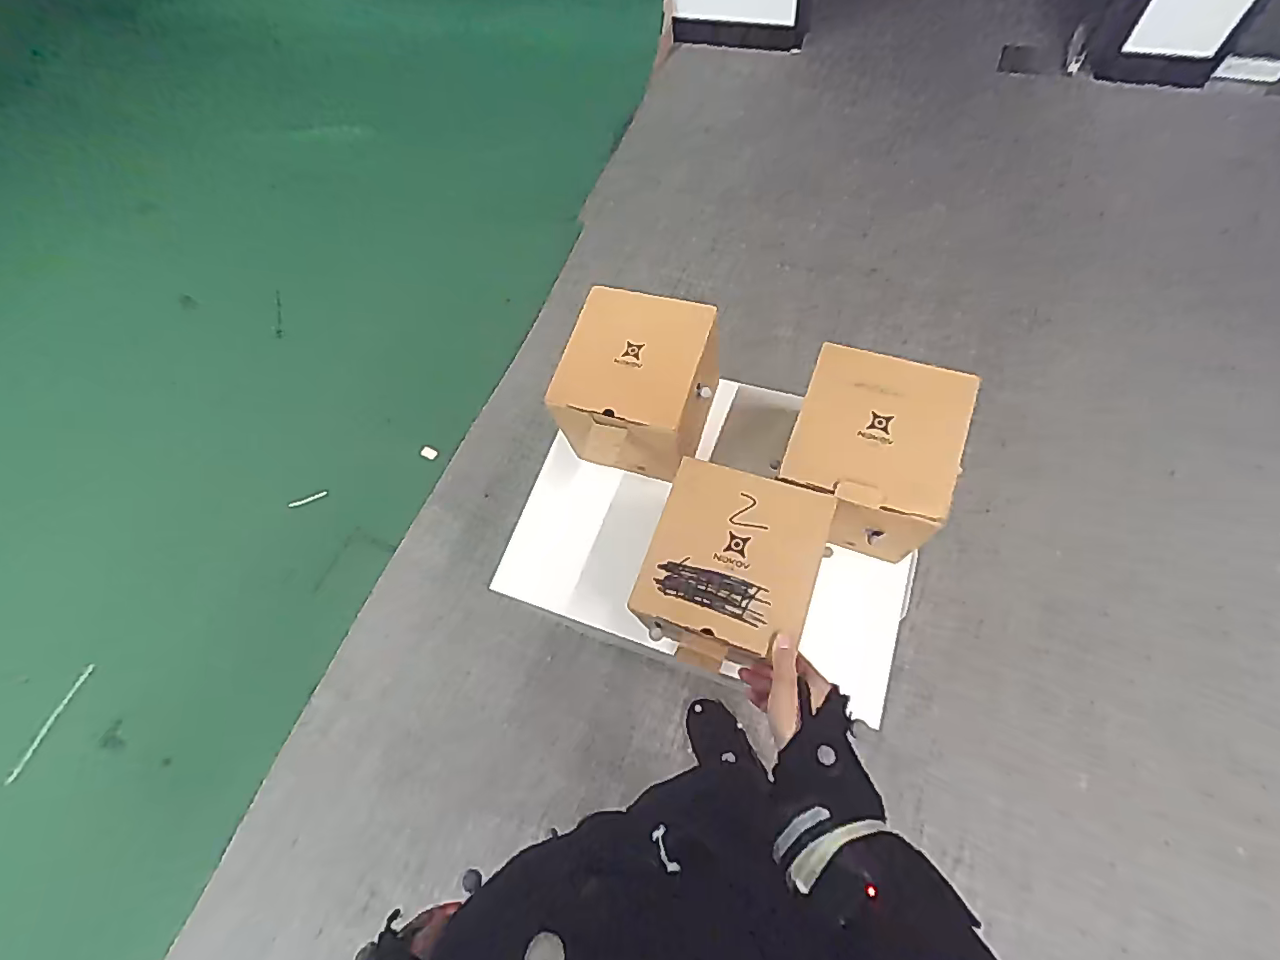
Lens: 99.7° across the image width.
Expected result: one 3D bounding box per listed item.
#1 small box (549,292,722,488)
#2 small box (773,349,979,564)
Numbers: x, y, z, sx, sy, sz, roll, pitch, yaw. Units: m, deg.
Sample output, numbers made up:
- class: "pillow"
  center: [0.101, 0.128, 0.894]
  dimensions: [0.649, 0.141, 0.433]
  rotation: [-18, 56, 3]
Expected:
- class: "small box"
  center: [0.005, -0.112, 0.716]
  dimensions: [0.168, 0.176, 0.179]
  rotation: [15, 72, 14]
- class: "small box"
  center: [0.261, -0.018, 0.635]
  dimensions: [0.168, 0.176, 0.179]
  rotation: [18, 71, 15]
